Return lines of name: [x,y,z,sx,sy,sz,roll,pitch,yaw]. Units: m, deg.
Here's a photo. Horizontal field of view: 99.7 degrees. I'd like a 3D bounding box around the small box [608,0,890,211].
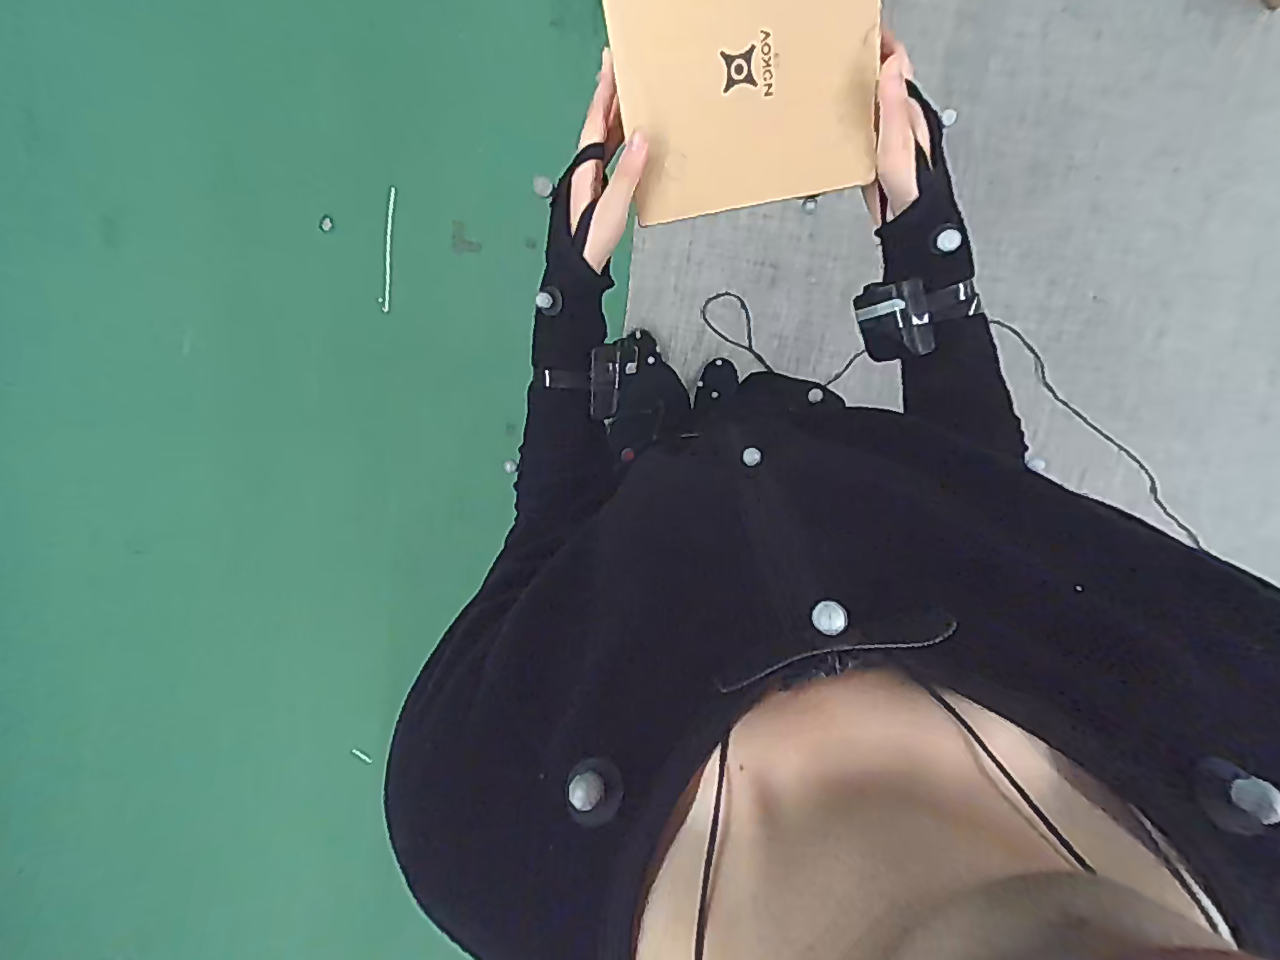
small box: [0.073,-0.313,0.421,0.179,0.176,0.168,-9,117,3]
